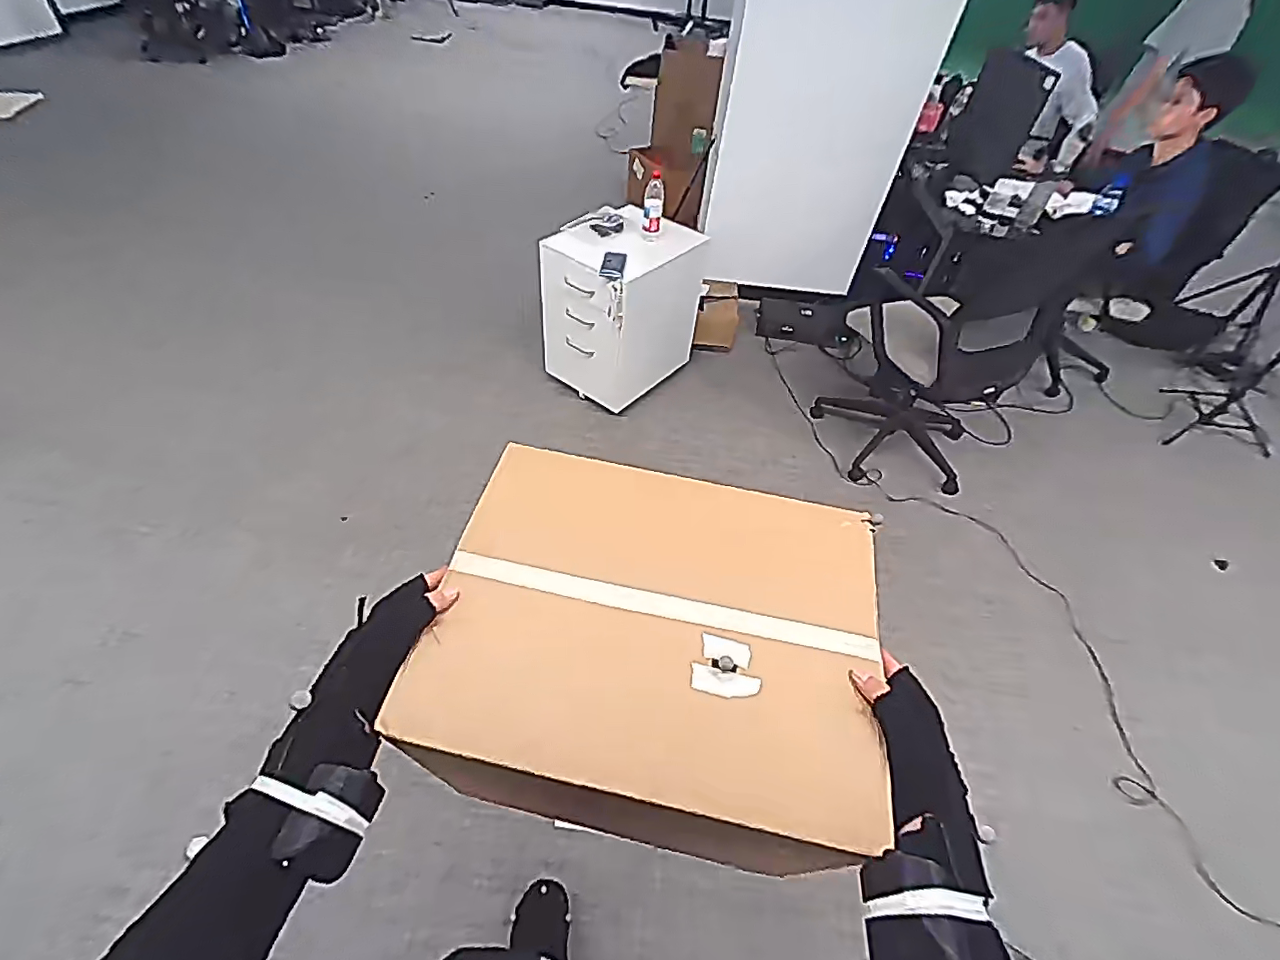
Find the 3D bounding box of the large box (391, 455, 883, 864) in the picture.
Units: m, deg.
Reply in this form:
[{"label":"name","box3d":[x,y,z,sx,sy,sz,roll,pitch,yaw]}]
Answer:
[{"label":"large box","box3d":[0.008,0.214,0.629,0.408,0.320,0.320,12,53,4]}]
